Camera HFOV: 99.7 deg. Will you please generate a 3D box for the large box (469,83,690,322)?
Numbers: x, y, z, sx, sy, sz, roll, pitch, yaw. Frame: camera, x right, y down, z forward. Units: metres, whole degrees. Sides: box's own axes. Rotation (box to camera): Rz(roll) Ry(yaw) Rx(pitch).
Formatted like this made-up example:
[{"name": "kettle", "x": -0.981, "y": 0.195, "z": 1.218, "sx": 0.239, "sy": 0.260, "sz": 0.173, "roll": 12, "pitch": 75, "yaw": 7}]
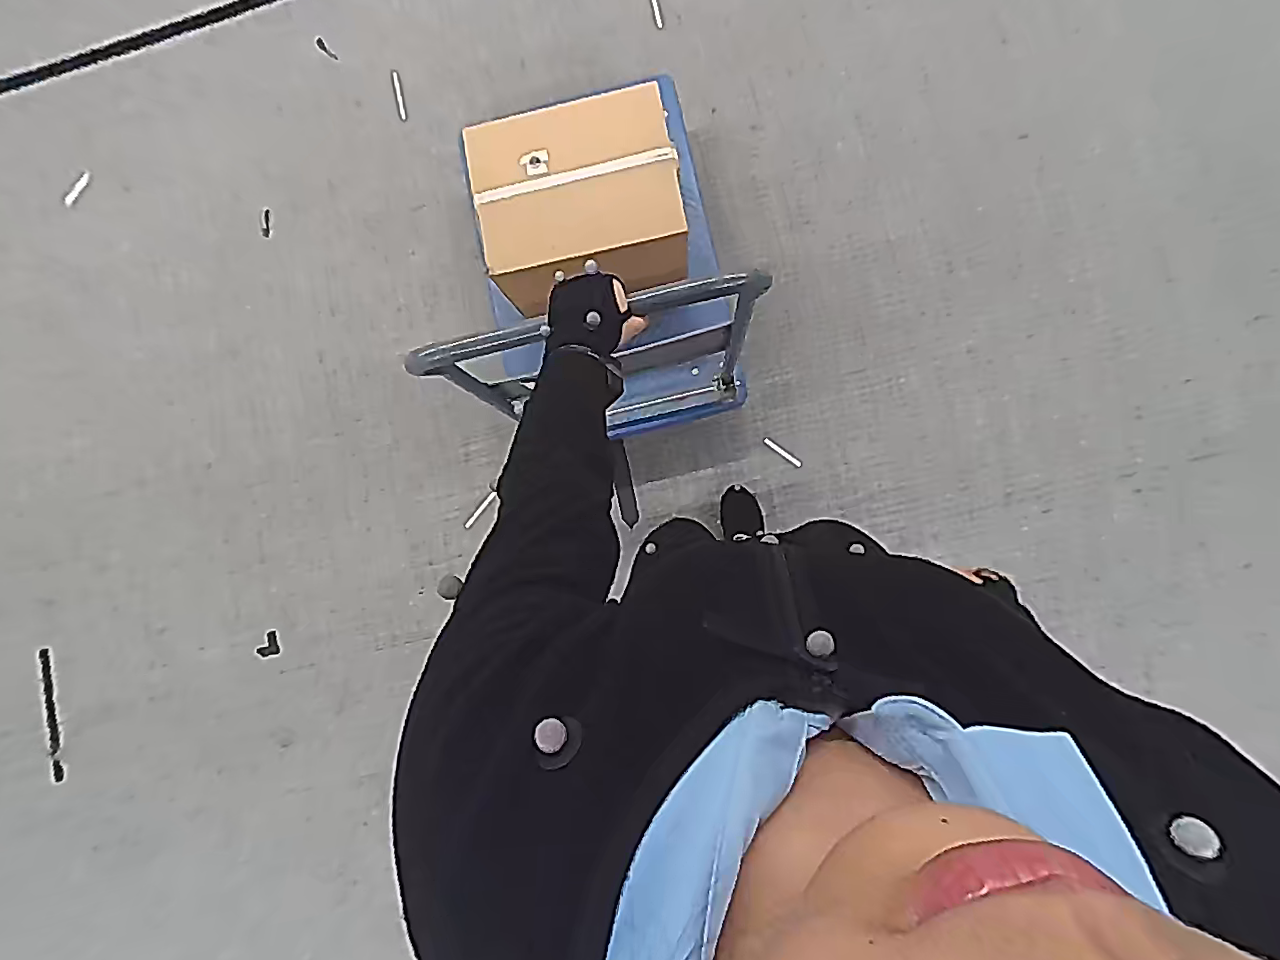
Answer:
[{"name": "large box", "x": -0.113, "y": -0.594, "z": 1.228, "sx": 0.408, "sy": 0.320, "sz": 0.320, "roll": -11, "pitch": 86, "yaw": 6}]
